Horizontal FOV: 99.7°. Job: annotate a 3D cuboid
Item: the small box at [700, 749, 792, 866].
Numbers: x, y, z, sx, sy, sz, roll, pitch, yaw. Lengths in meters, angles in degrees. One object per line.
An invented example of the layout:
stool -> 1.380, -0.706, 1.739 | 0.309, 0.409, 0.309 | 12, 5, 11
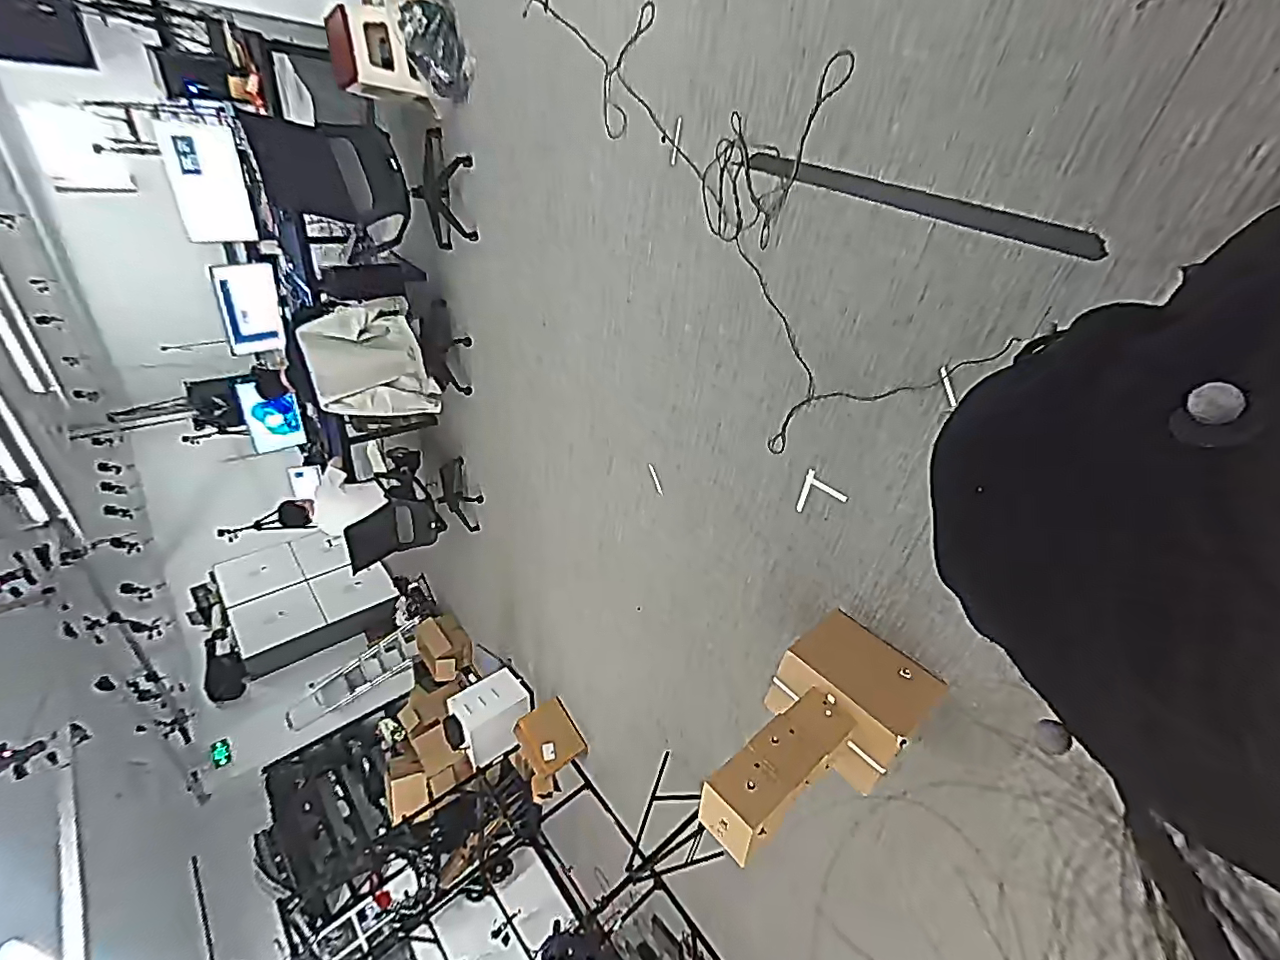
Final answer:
small box -> 0.287, 0.871, 1.455 | 0.168, 0.176, 0.179 | 31, 130, 41

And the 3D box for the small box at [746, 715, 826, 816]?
small box -> 0.408, 0.818, 1.553 | 0.168, 0.176, 0.179 | 35, 133, 38

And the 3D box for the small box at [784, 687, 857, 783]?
small box -> 0.532, 0.778, 1.650 | 0.168, 0.176, 0.179 | 36, 132, 36
